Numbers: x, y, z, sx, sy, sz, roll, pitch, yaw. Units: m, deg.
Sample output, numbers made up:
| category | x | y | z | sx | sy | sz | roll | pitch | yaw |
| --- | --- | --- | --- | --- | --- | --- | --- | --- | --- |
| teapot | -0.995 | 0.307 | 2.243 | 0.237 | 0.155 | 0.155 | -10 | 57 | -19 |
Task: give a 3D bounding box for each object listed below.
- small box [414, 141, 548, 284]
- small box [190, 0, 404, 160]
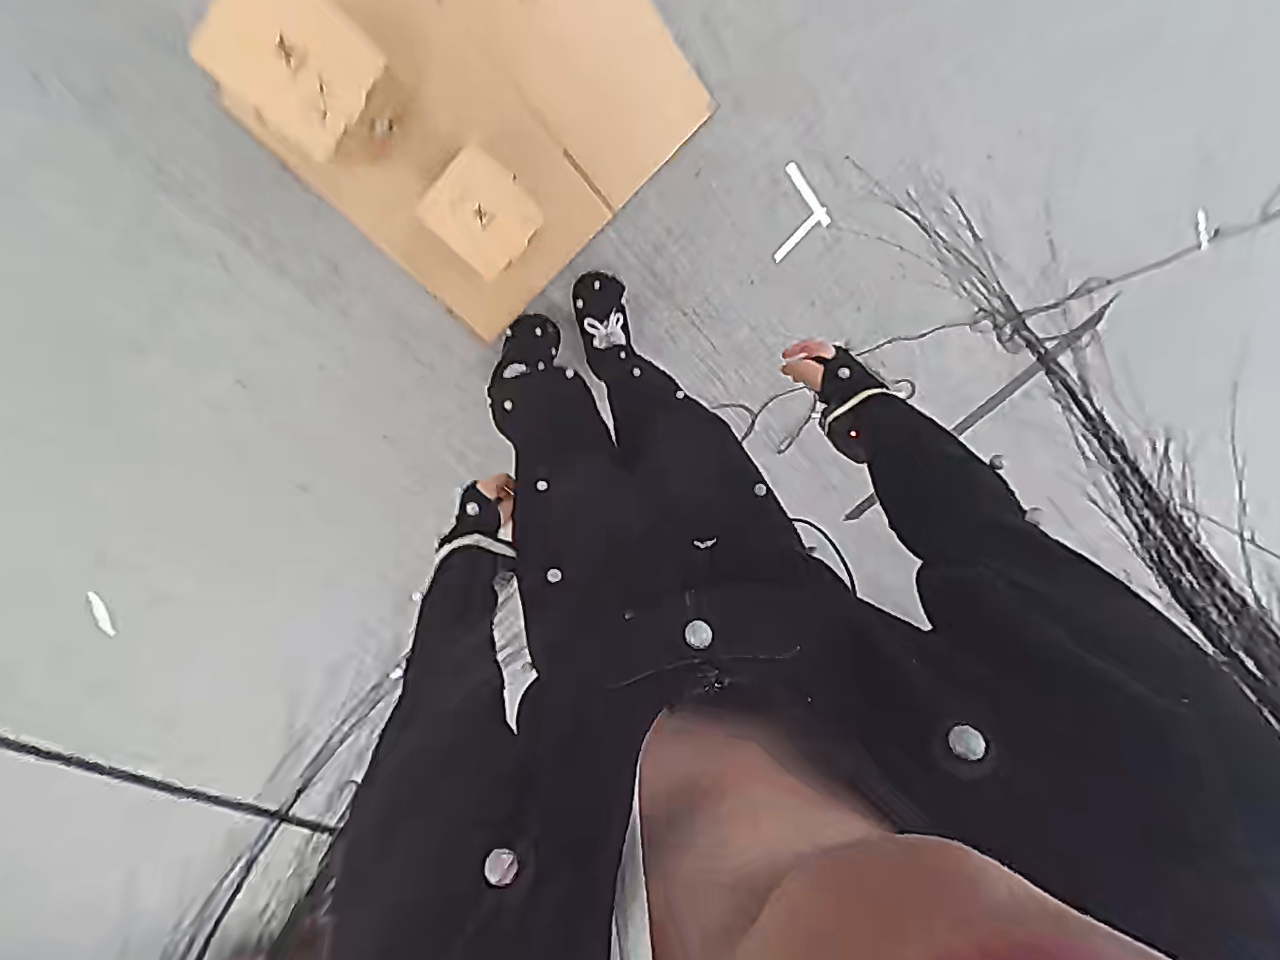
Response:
| category | x | y | z | sx | sy | sz | roll | pitch | yaw |
| --- | --- | --- | --- | --- | --- | --- | --- | --- | --- |
| small box | -0.299 | -0.512 | 1.038 | 0.179 | 0.176 | 0.168 | 38 | 102 | -29 |
| small box | -0.463 | -0.579 | 0.760 | 0.179 | 0.176 | 0.168 | 35 | 105 | -29 |
